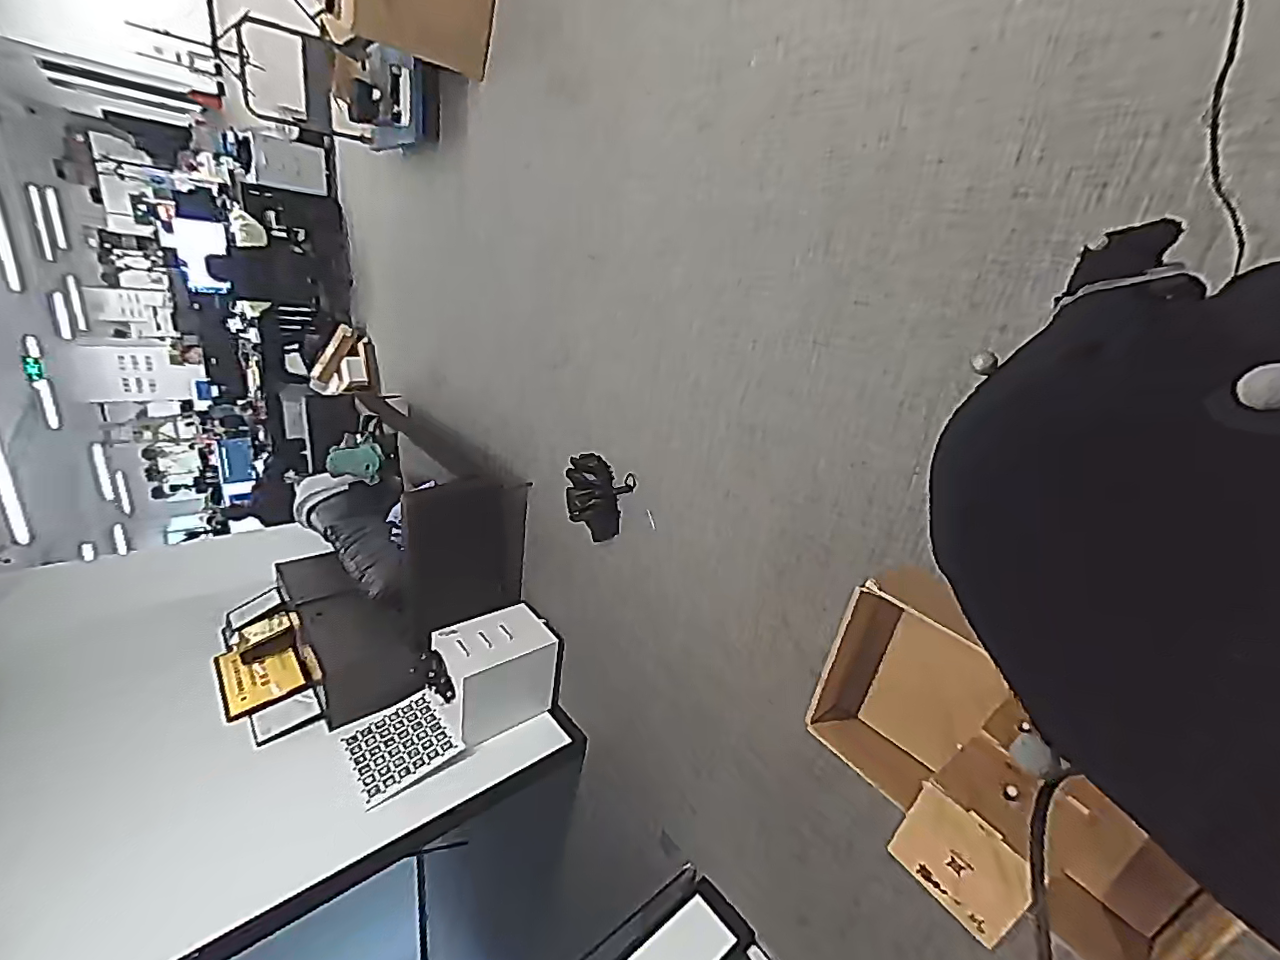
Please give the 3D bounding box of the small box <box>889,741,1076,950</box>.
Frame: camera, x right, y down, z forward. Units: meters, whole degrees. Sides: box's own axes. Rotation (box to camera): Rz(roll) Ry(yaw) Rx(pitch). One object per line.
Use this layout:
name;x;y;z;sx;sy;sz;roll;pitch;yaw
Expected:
small box;0.526;0.544;0.830;0.168;0.176;0.179;37;124;43

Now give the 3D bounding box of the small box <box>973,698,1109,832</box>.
small box;0.657;0.513;0.925;0.168;0.176;0.179;37;127;42
